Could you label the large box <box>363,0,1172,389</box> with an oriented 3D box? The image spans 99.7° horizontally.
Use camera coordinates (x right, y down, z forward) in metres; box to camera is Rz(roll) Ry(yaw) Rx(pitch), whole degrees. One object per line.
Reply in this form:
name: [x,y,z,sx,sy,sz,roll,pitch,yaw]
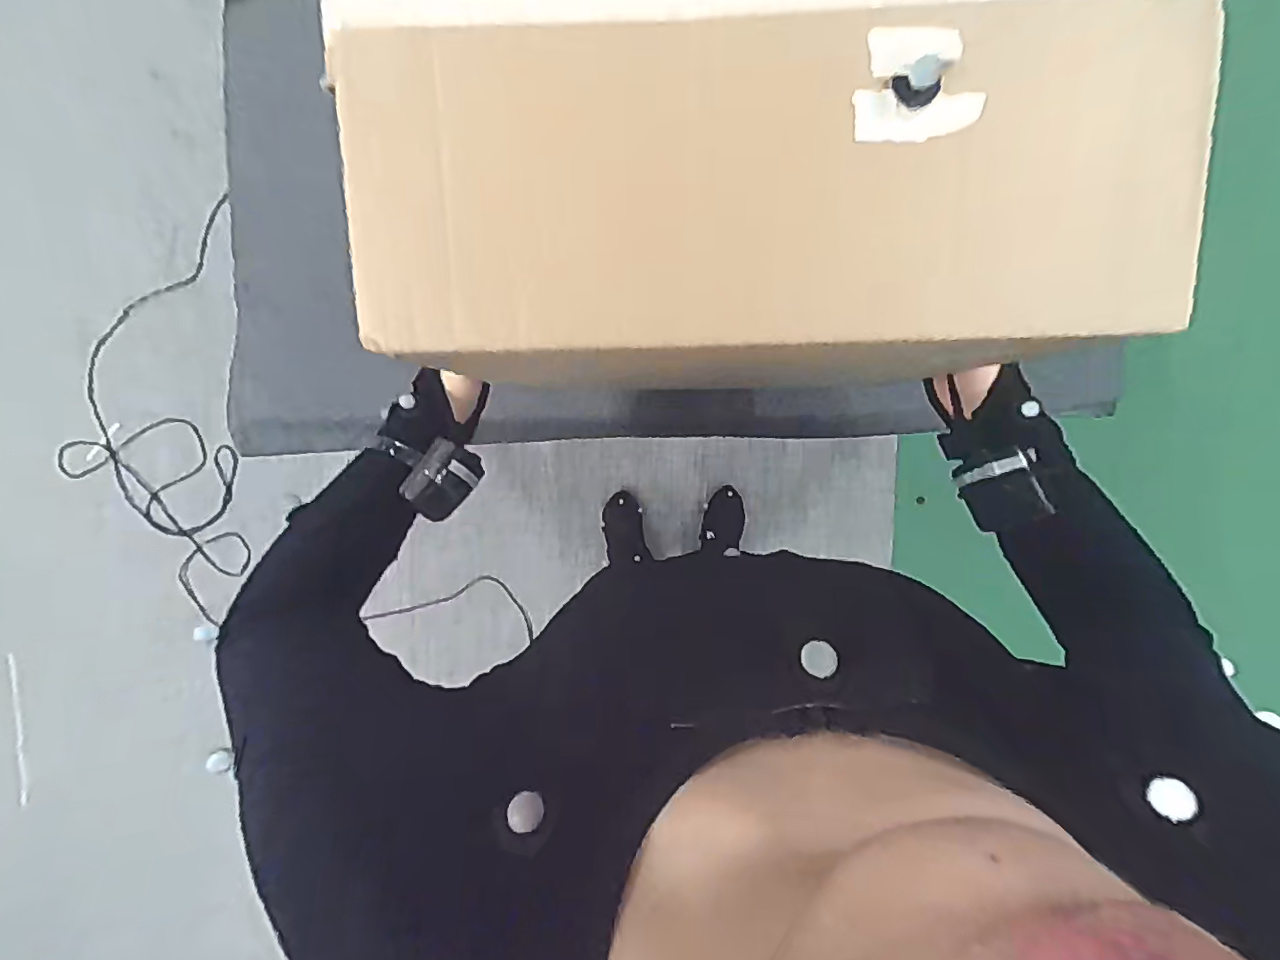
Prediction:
large box: [0.060,-0.244,0.416,0.408,0.320,0.320,-2,97,1]
